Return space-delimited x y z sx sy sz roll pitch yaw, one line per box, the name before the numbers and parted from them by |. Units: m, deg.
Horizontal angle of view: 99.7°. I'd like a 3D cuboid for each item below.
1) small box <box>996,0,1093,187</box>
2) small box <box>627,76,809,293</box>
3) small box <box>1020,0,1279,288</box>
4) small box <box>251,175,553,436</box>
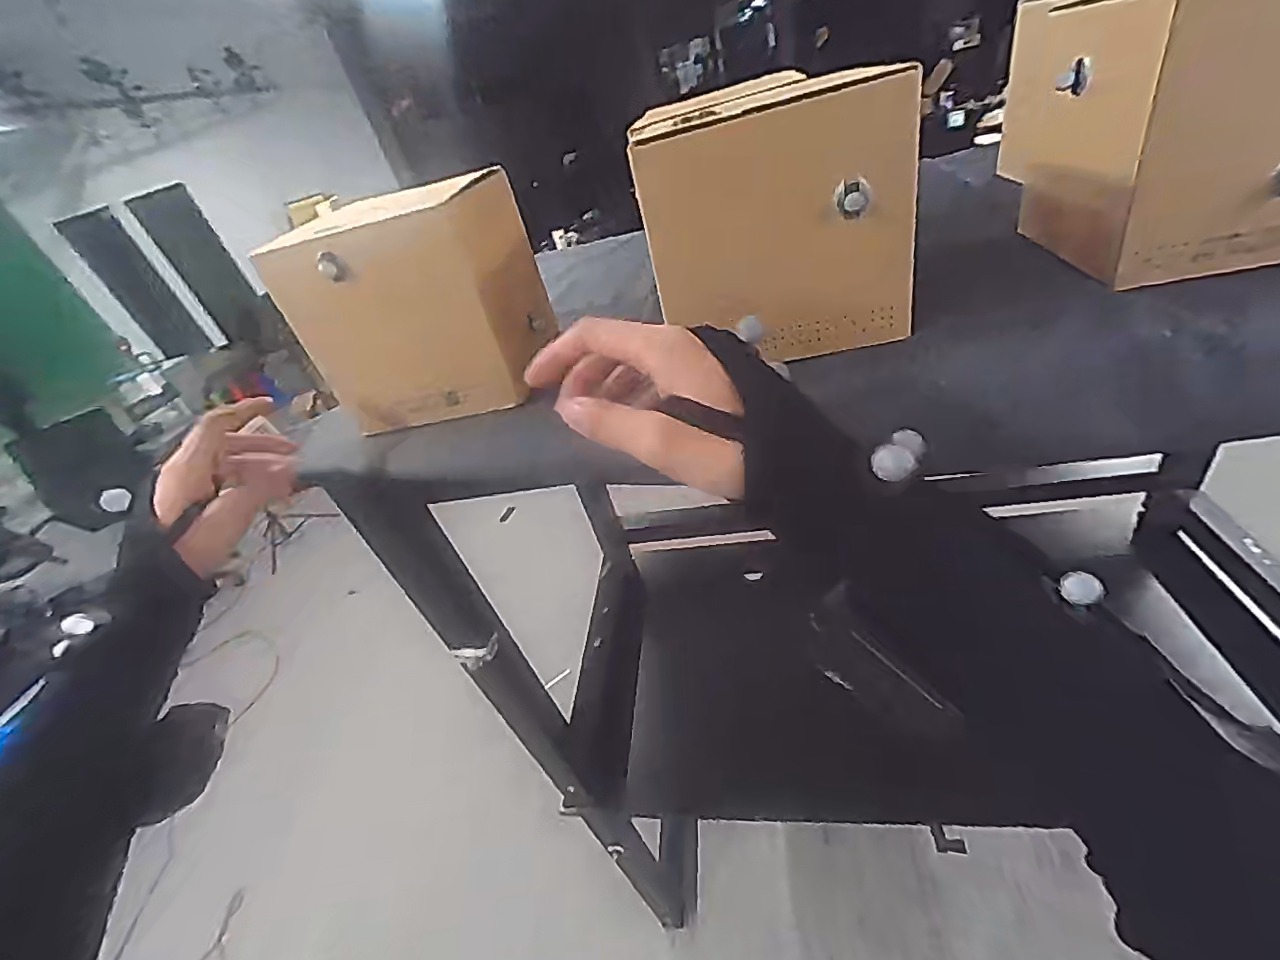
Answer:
small box | 0.485 -0.393 0.533 0.168 0.176 0.179 -8 37 11
small box | 0.099 -0.339 0.629 0.179 0.176 0.168 -7 37 14
small box | 0.396 -0.252 0.378 0.168 0.176 0.179 -6 36 16
small box | -0.193 -0.163 0.506 0.168 0.176 0.179 -9 35 12
